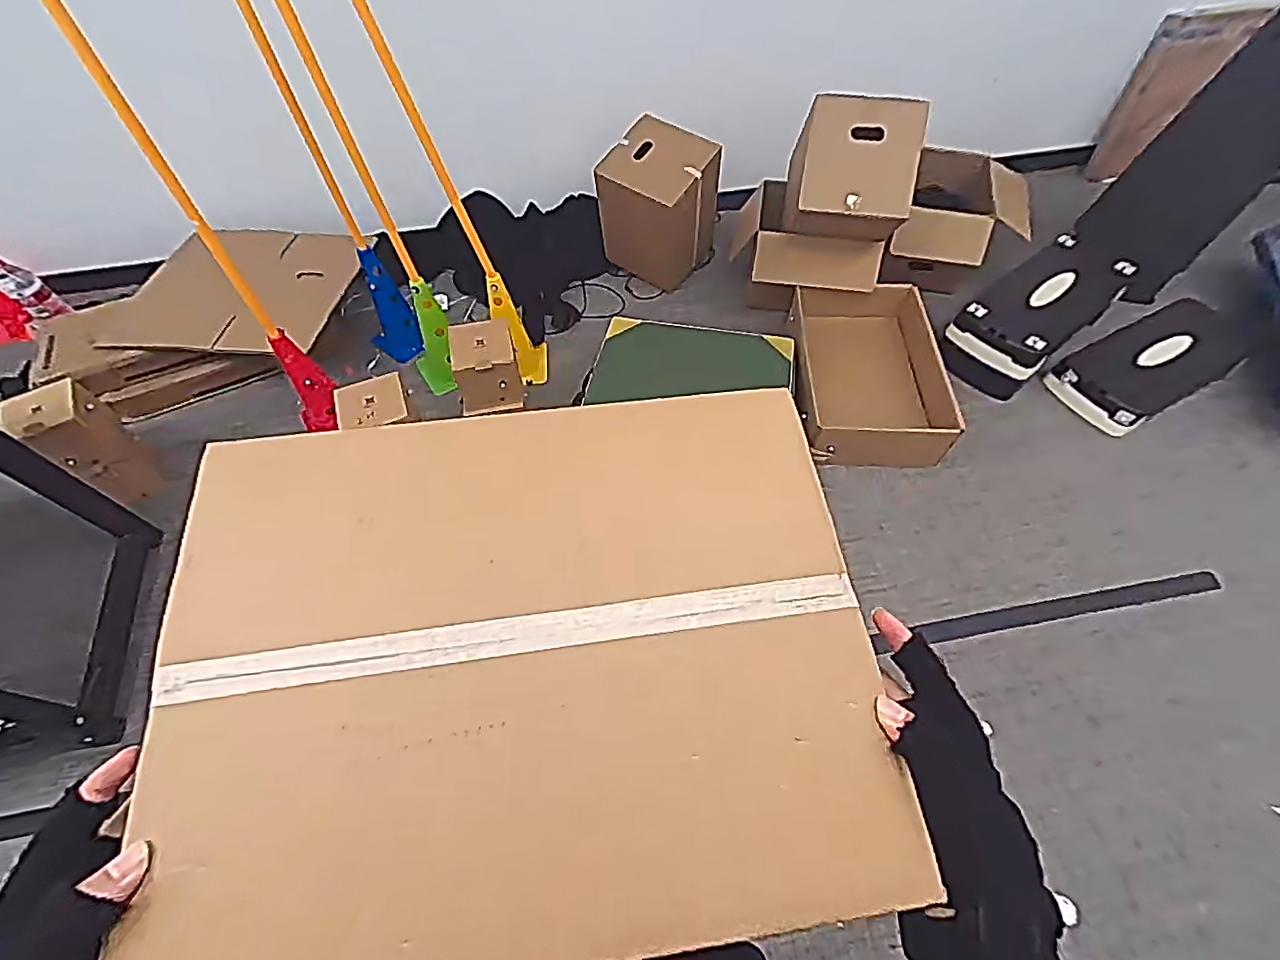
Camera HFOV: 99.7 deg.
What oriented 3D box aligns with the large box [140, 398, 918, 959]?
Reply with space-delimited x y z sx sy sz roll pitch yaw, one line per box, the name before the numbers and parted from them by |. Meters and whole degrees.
large box | -0.072 0.161 0.467 0.408 0.320 0.320 -7 66 -5
